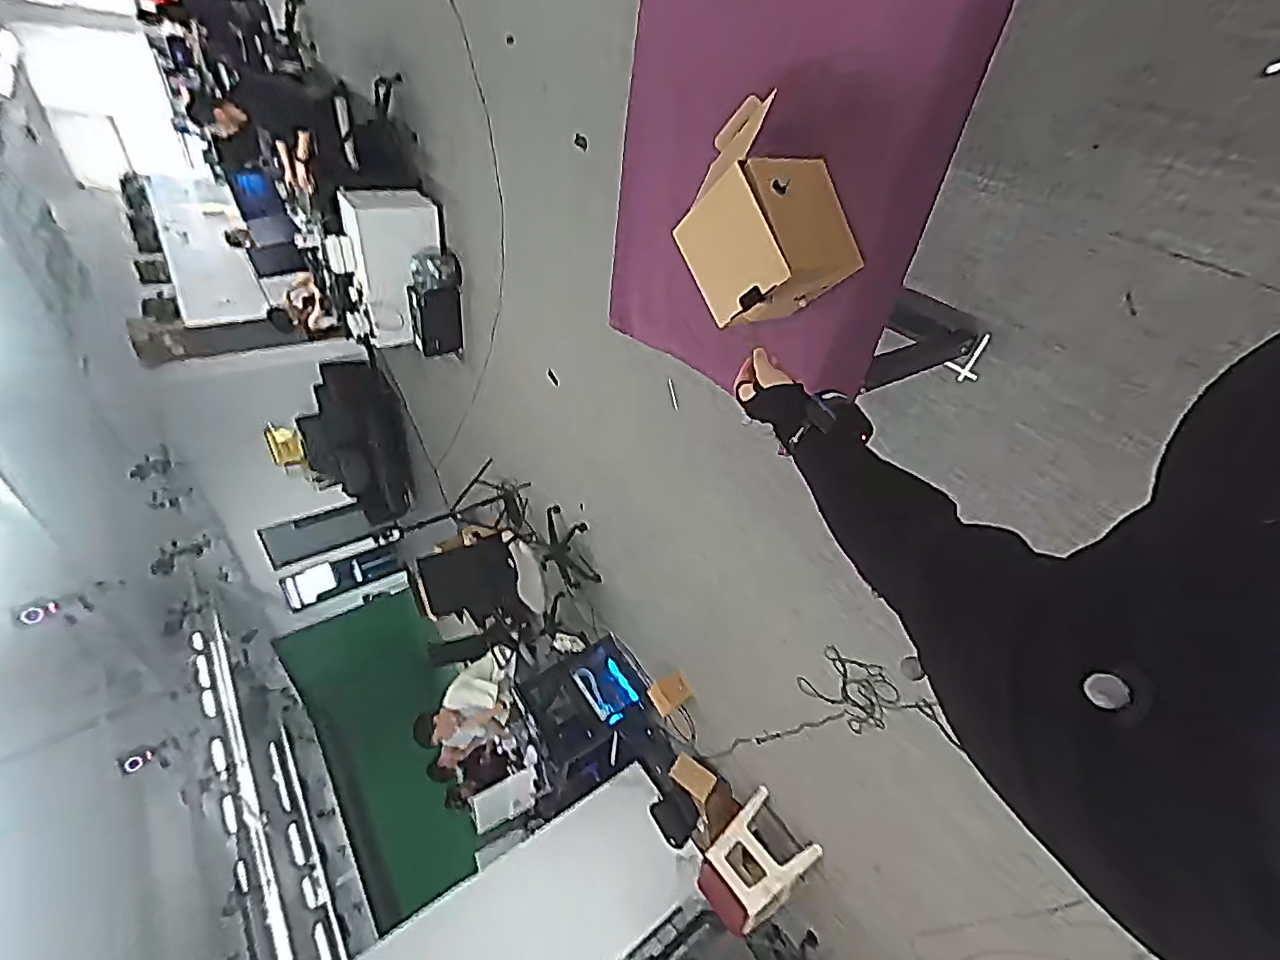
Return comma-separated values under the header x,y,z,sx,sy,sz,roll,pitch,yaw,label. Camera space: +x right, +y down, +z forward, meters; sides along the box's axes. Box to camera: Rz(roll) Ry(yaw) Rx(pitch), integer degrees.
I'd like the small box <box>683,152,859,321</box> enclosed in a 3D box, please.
x,y,z,sx,sy,sz,roll,pitch,yaw,label
0.200,-0.369,0.835,0.168,0.176,0.179,-22,87,59,small box
